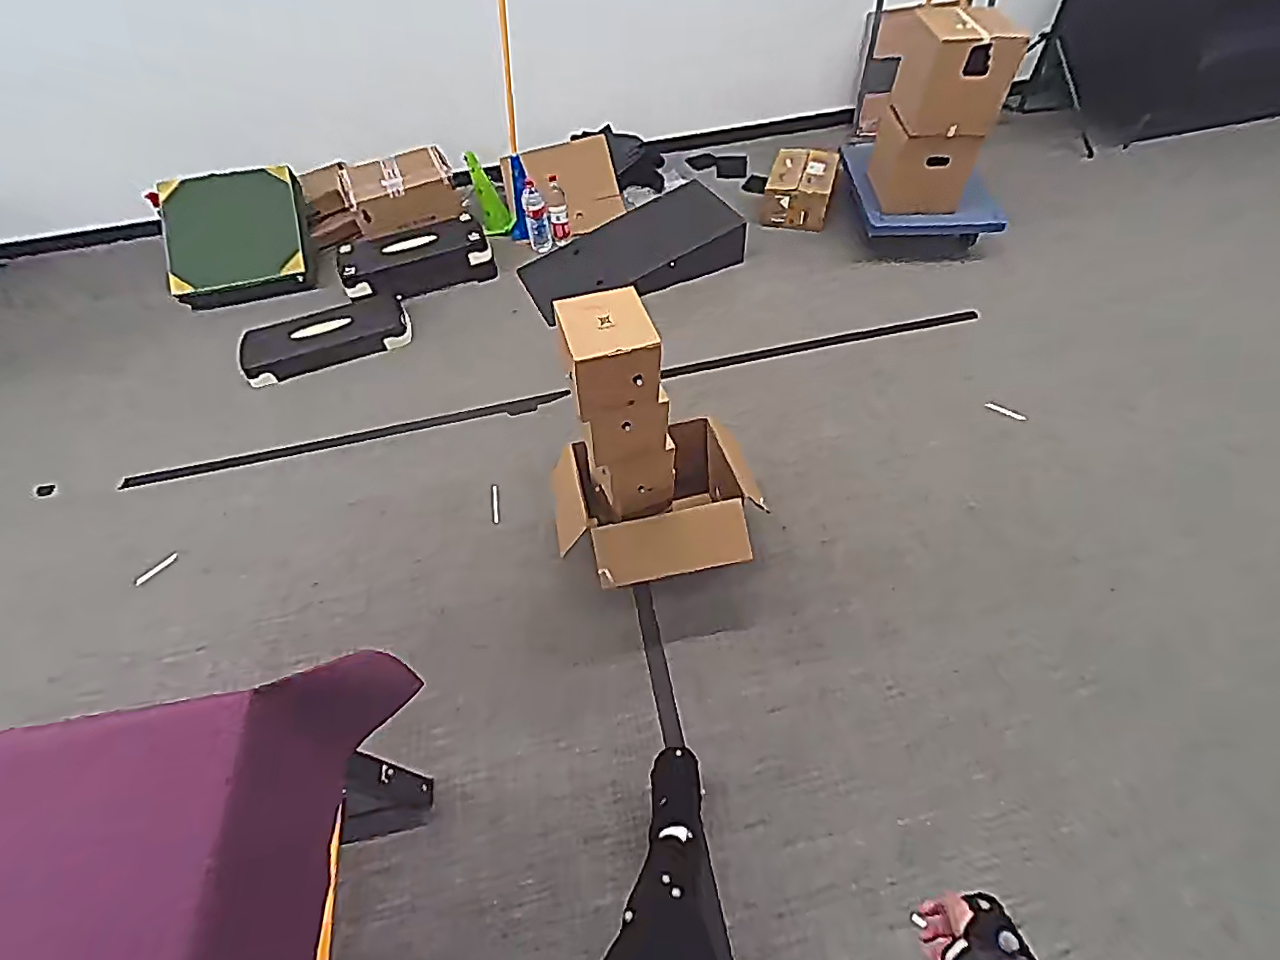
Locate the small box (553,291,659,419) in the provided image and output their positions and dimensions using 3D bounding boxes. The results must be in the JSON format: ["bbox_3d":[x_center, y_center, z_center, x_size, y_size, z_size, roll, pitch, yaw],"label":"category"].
[{"bbox_3d":[-0.066,-0.239,1.072,0.168,0.176,0.179,-14,56,-11],"label":"small box"}]

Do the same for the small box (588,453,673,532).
[{"bbox_3d":[-0.026,0.014,1.494,0.179,0.176,0.168,-27,59,-19],"label":"small box"}]

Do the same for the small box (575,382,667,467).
[{"bbox_3d":[-0.049,-0.151,1.208,0.179,0.176,0.168,-16,58,-11],"label":"small box"}]
